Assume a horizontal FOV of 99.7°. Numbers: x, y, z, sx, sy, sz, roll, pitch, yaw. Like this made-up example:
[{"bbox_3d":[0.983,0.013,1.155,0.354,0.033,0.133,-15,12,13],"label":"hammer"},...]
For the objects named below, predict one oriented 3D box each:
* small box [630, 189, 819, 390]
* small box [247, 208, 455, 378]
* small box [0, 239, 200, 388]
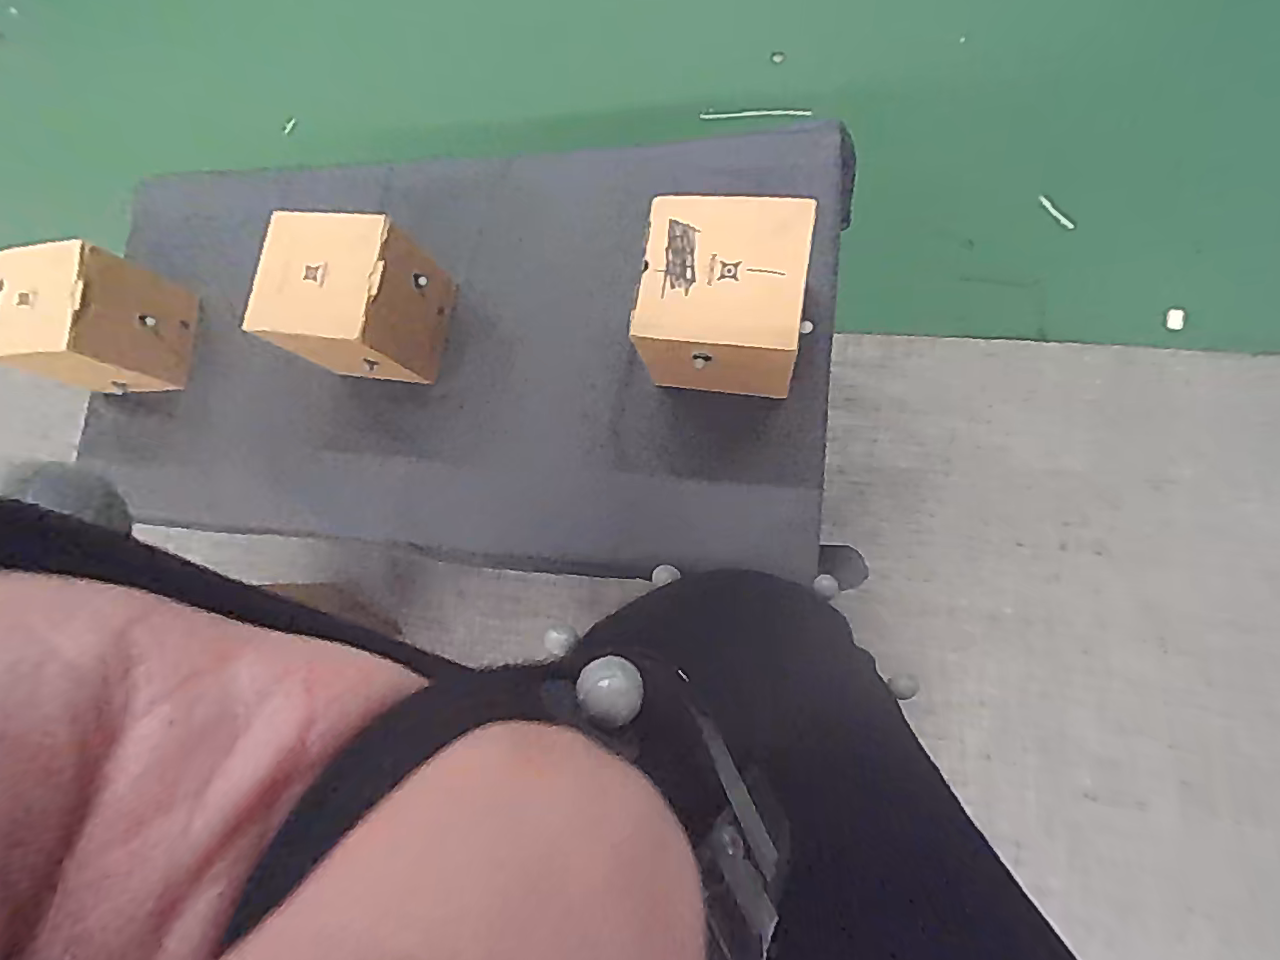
[{"bbox_3d":[0.102,-0.214,0.641,0.179,0.176,0.168,8,84,12],"label":"small box"},{"bbox_3d":[-0.386,-0.249,0.752,0.179,0.176,0.168,7,82,14],"label":"small box"},{"bbox_3d":[-0.839,-0.248,0.842,0.179,0.176,0.168,-1,81,10],"label":"small box"}]
